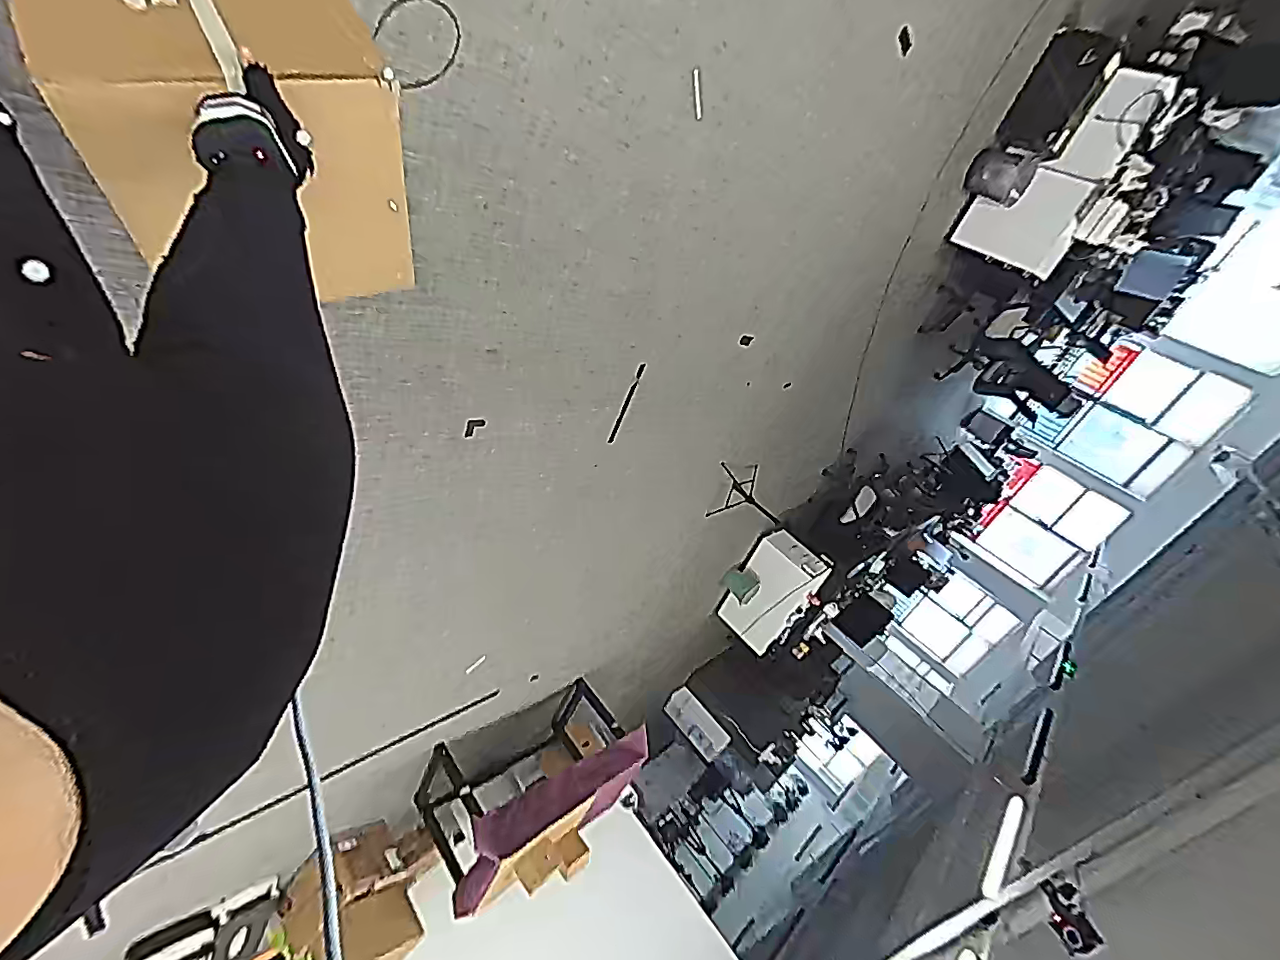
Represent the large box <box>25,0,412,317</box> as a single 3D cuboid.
[{"bbox_3d":[-0.546,-0.501,0.737,0.320,0.408,0.320,-23,166,-26],"label":"large box"}]
